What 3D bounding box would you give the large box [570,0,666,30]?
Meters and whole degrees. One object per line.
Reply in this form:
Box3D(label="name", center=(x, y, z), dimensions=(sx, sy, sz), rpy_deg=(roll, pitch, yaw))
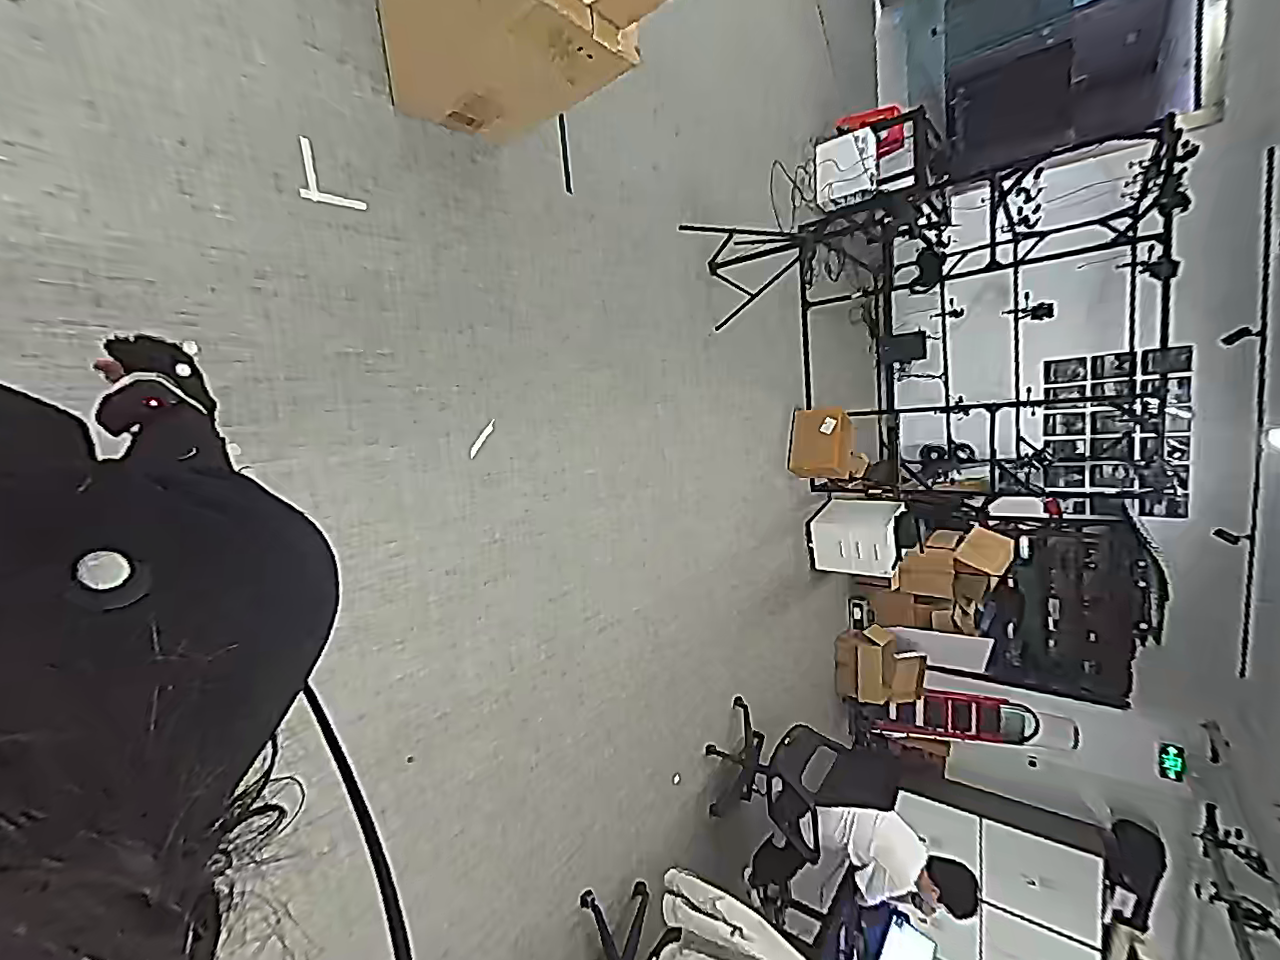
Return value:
Box3D(label="large box", center=(-0.061, -1.385, 1.237), dimensions=(0.320, 0.320, 0.408), rpy_deg=(-17, 104, -51))
